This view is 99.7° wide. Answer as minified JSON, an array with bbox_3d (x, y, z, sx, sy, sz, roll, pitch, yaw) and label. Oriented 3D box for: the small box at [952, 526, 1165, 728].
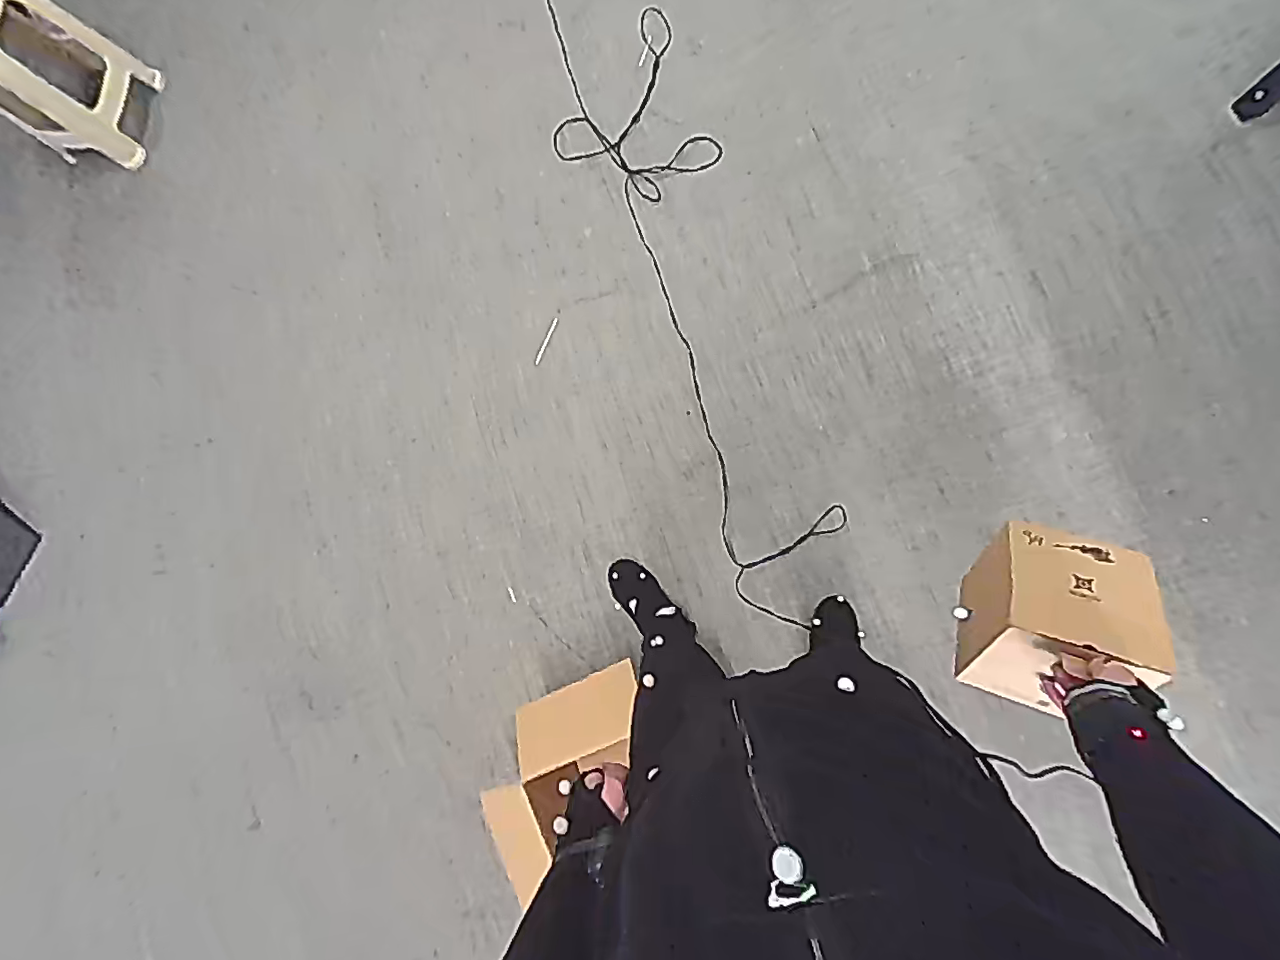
[{"bbox_3d":[0.541,0.199,0.725,0.168,0.176,0.179,18,51,18],"label":"small box"}]
